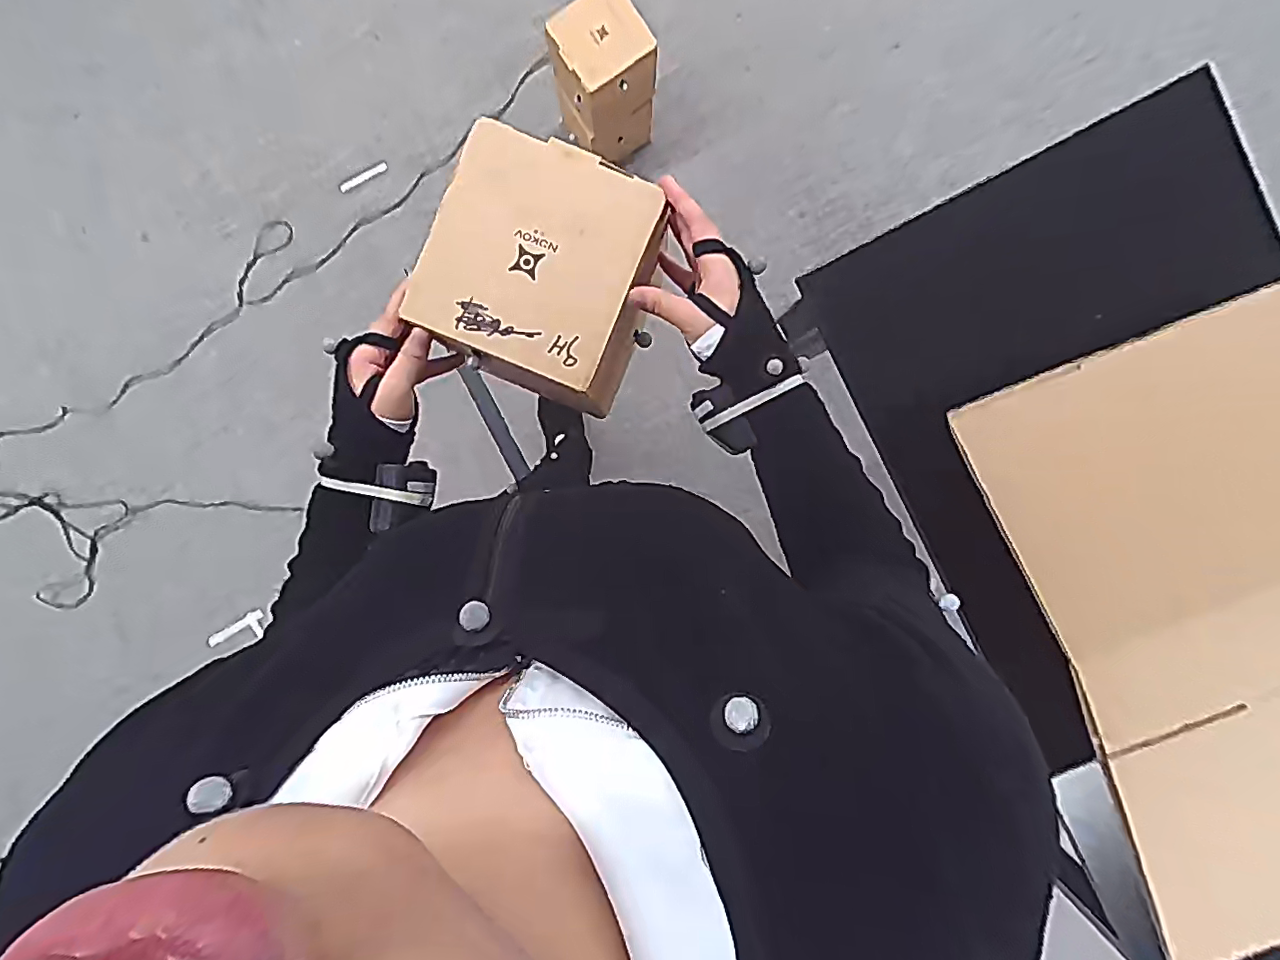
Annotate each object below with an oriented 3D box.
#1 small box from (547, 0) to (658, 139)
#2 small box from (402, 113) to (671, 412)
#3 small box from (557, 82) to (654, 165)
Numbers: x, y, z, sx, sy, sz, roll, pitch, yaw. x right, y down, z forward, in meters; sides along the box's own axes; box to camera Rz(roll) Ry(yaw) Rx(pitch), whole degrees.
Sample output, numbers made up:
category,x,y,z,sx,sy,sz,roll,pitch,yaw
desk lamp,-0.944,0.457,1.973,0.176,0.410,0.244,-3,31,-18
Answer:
category,x,y,z,sx,sy,sz,roll,pitch,yaw
small box,-0.077,-0.901,1.186,0.179,0.176,0.168,-35,93,0
small box,-0.082,-0.183,0.509,0.168,0.176,0.179,23,89,2
small box,-0.082,-0.905,1.348,0.179,0.176,0.168,-31,92,2
